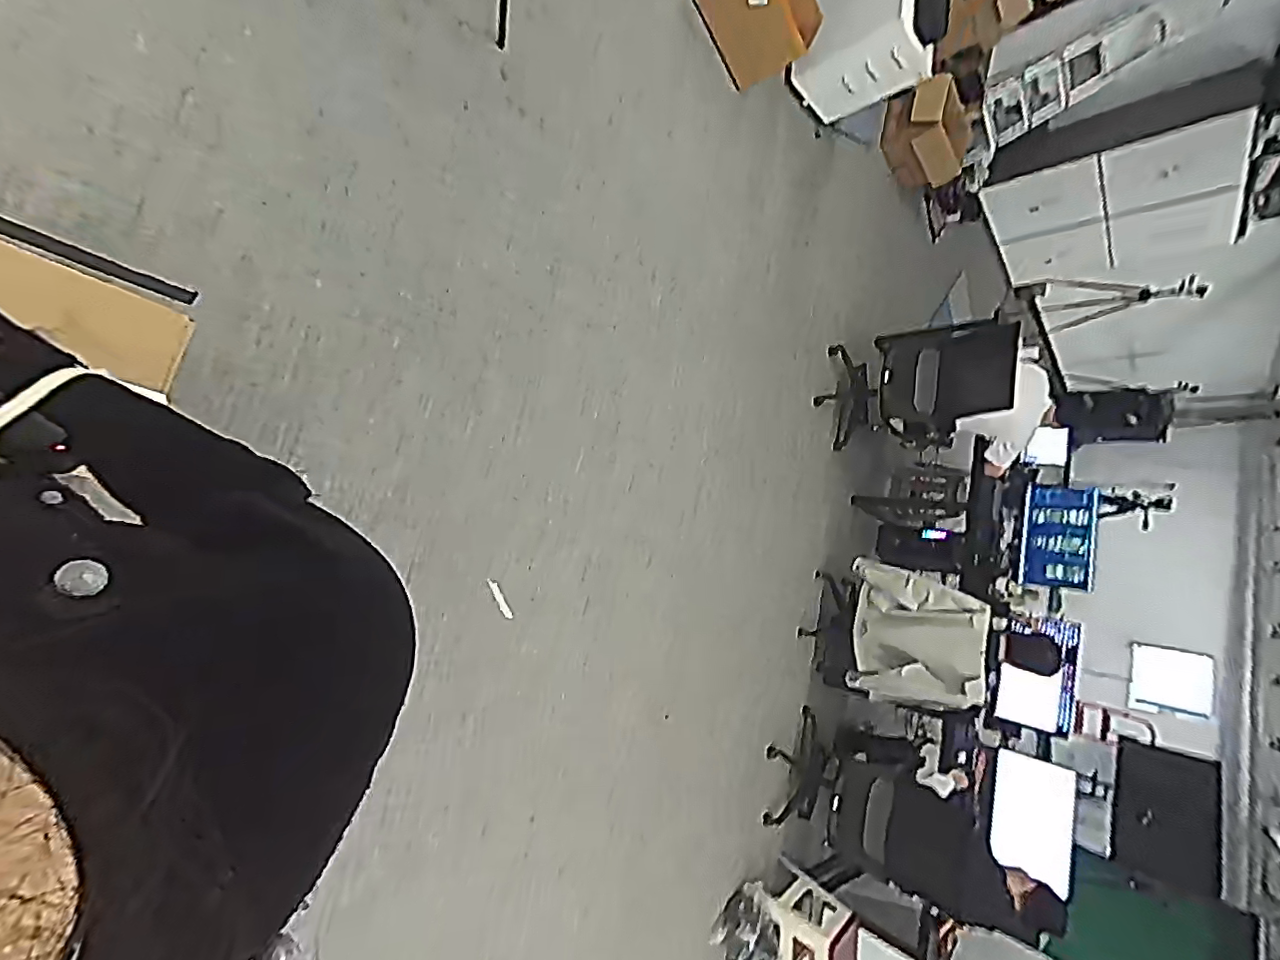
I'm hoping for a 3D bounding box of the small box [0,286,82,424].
[{"bbox_3d":[-0.896,-0.175,0.724,0.179,0.176,0.168,21,79,-45],"label":"small box"}]
